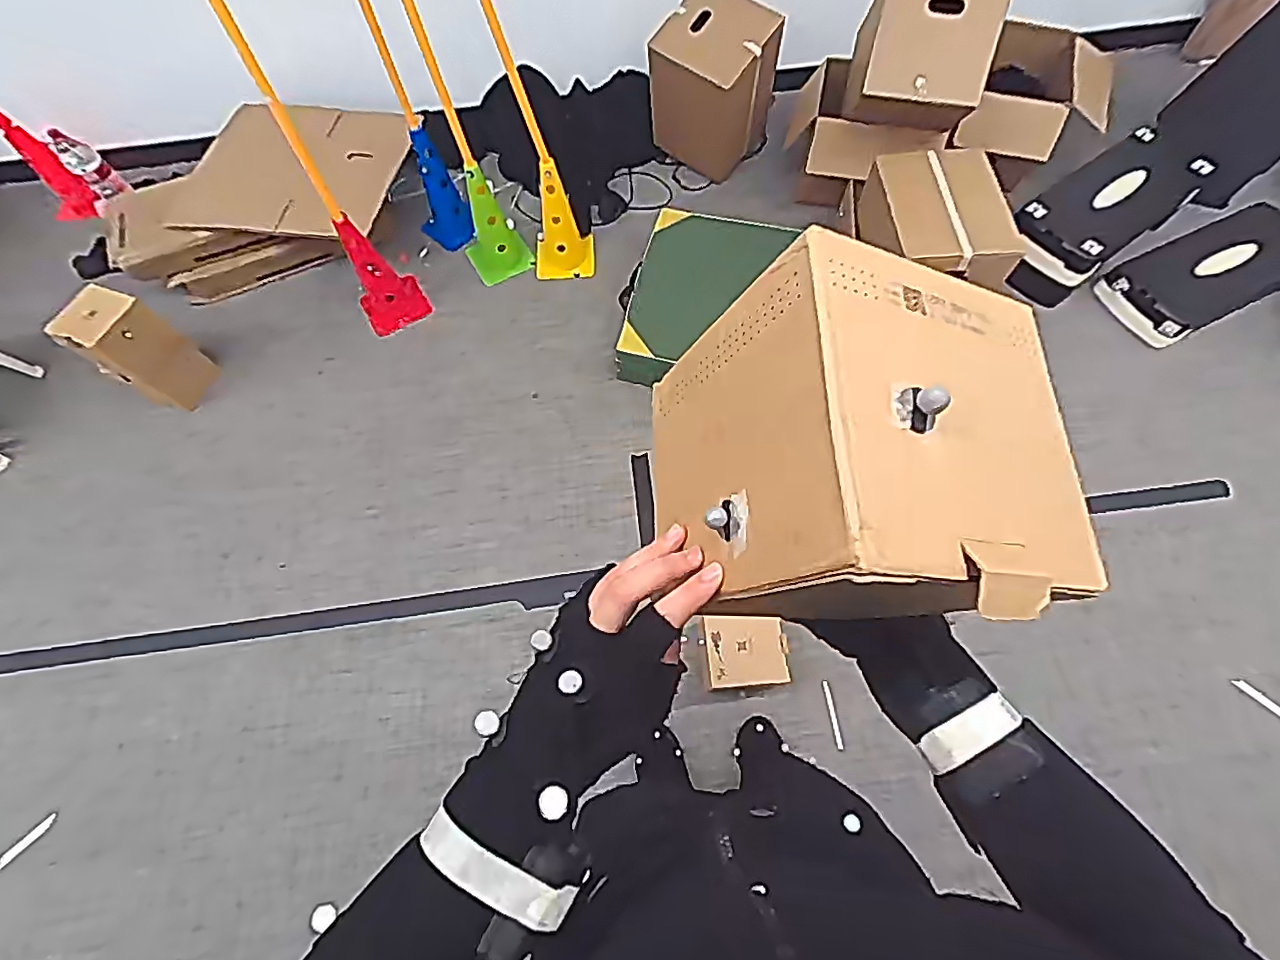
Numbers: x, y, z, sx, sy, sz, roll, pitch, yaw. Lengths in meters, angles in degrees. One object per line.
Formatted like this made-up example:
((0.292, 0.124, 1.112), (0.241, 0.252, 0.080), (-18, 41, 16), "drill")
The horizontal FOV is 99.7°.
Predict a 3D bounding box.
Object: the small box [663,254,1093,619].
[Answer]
((0.120, -0.006, 0.338), (0.168, 0.179, 0.176), (8, 70, -24), "small box")

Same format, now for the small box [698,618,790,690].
((0.238, 0.406, 1.286), (0.179, 0.176, 0.168), (-3, 66, -1), "small box")
